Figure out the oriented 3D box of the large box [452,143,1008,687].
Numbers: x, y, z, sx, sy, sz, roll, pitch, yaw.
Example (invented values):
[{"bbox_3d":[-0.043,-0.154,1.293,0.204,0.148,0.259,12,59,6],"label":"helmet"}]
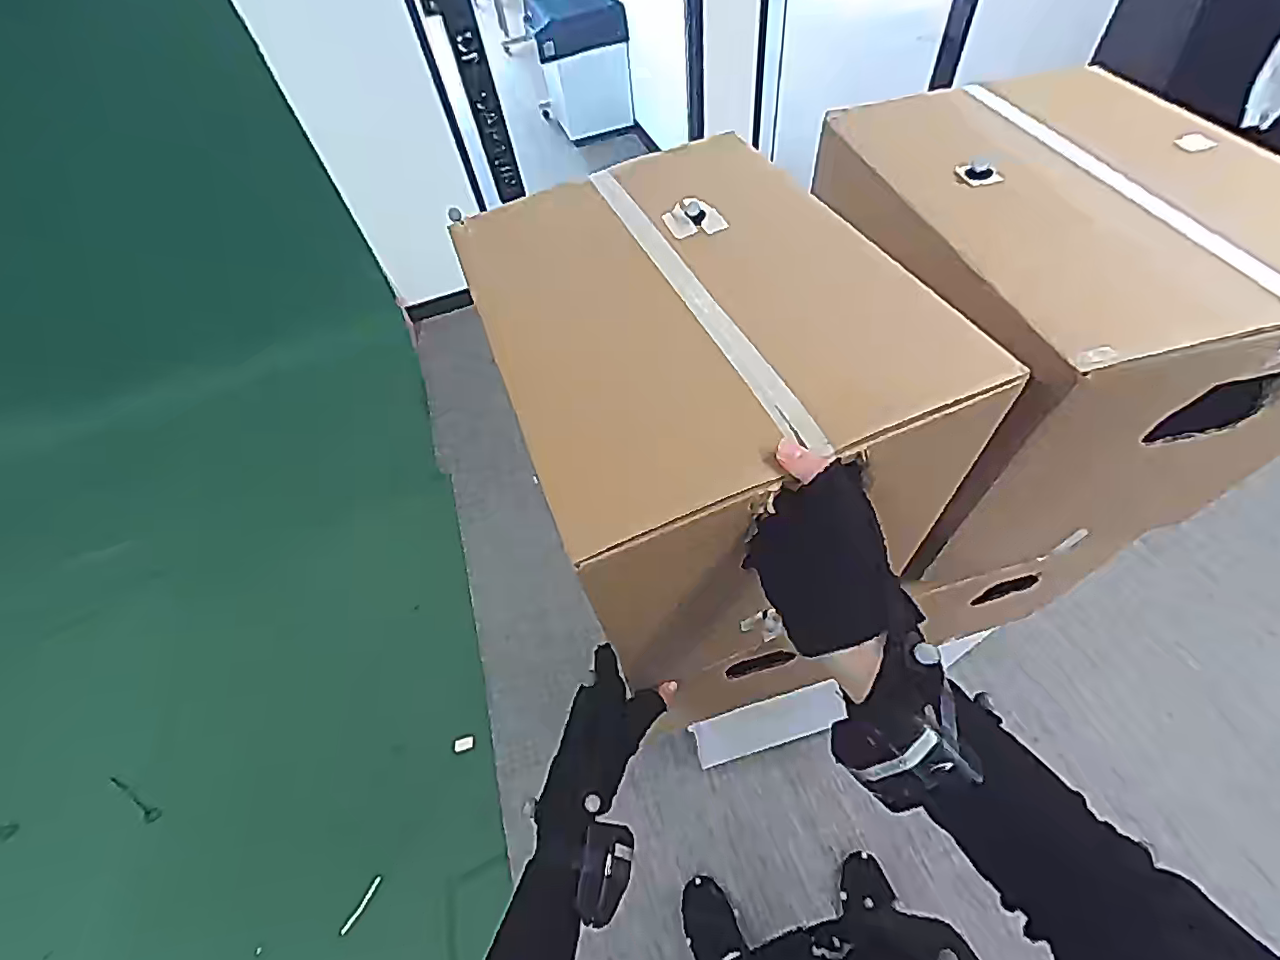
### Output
[{"bbox_3d":[0.047,-0.069,0.559,0.320,0.320,0.408,-21,54,-7],"label":"large box"}]
